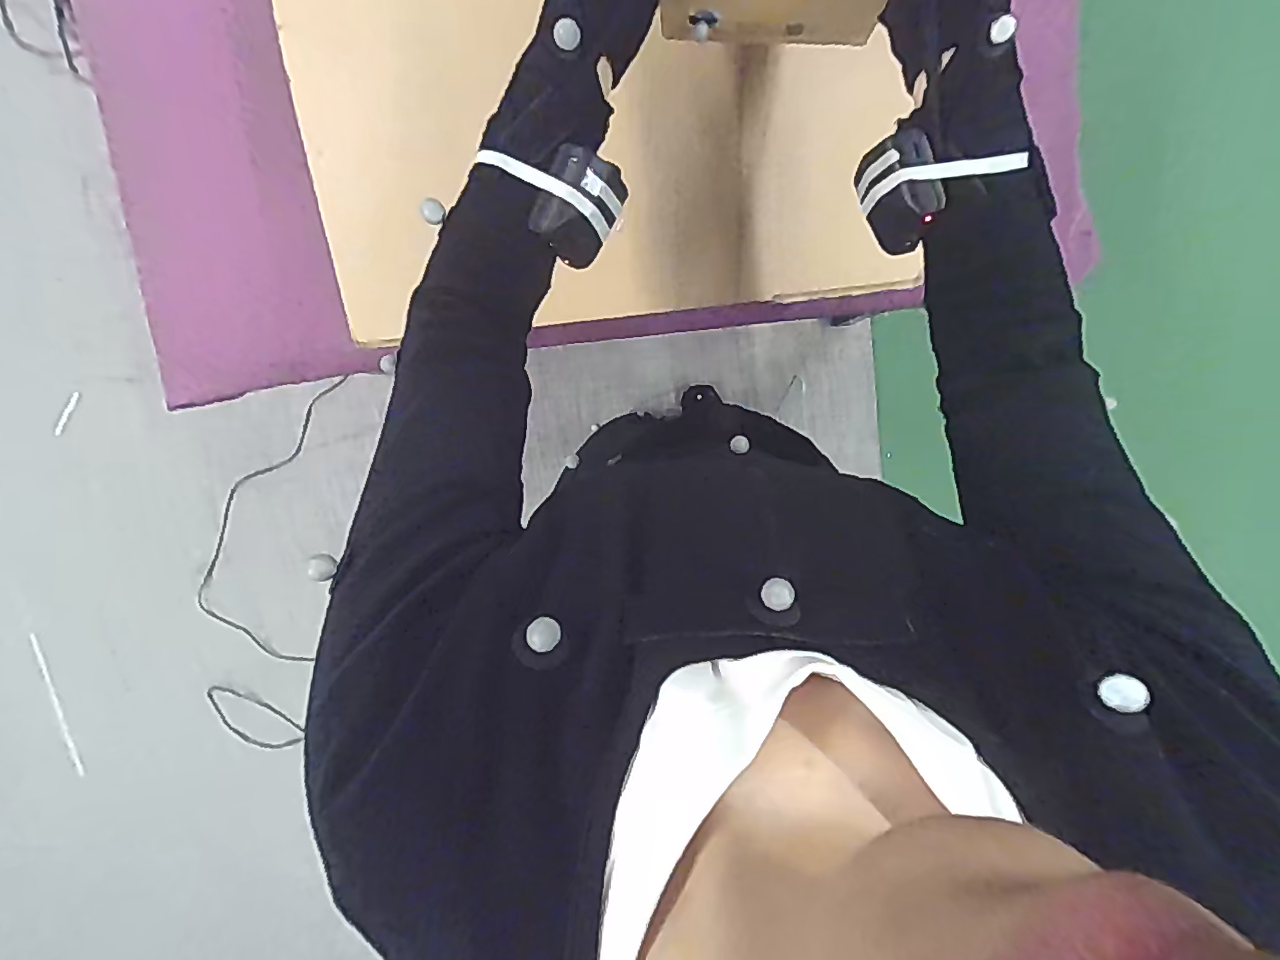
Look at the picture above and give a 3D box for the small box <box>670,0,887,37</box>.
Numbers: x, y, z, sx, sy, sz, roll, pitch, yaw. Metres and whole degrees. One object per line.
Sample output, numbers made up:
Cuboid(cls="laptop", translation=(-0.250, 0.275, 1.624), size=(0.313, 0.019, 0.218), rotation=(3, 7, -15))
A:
Cuboid(cls="small box", translation=(0.101, -0.419, 0.342), size=(0.168, 0.176, 0.179), rotation=(2, 104, 5))
